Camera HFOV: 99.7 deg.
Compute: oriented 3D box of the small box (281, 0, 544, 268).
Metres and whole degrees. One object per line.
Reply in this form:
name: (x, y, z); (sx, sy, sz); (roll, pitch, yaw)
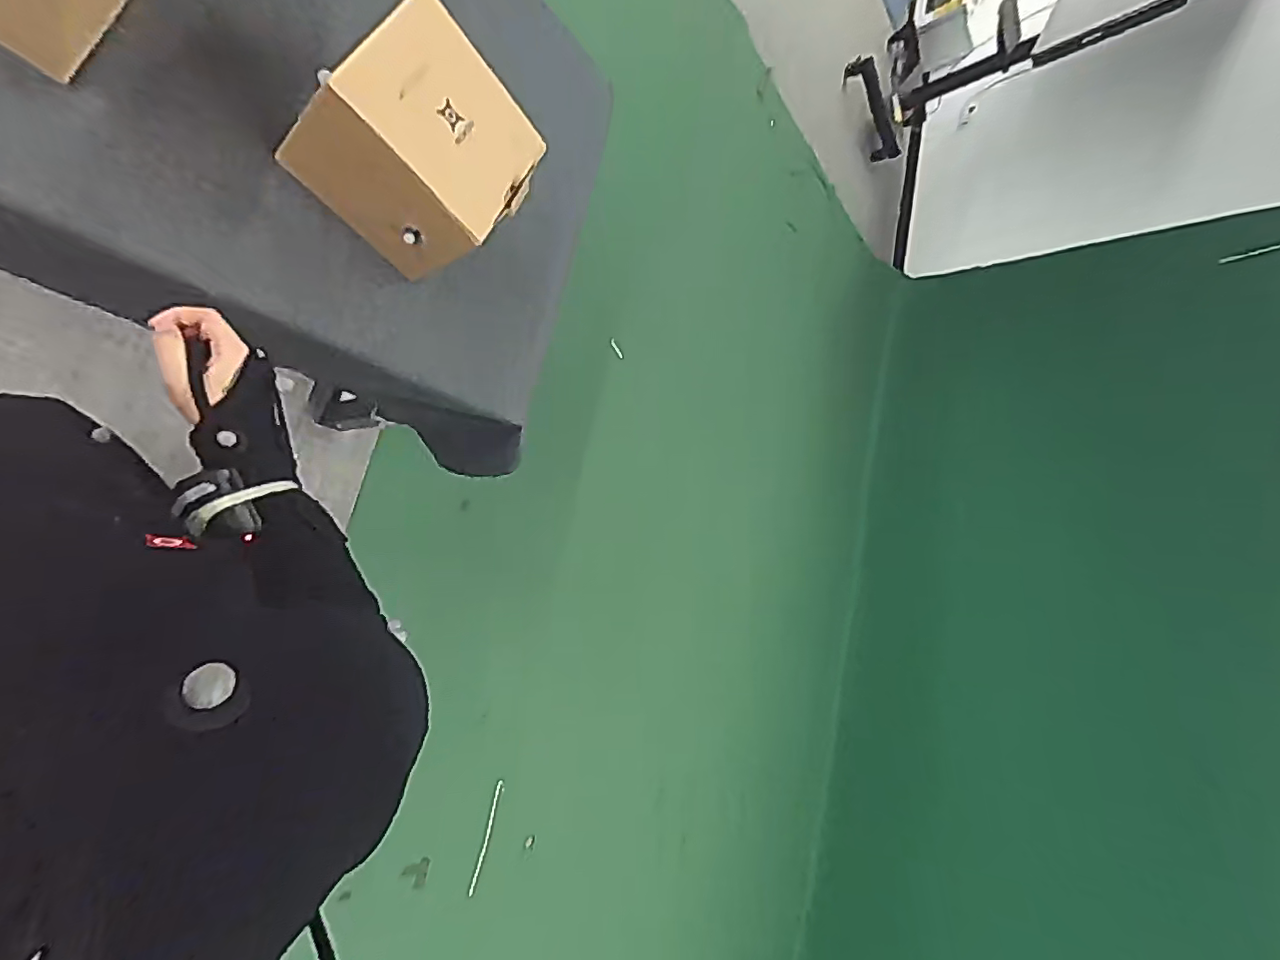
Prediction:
small box: (-0.247, -0.360, 0.596); (0.179, 0.176, 0.168); (41, 61, -39)
